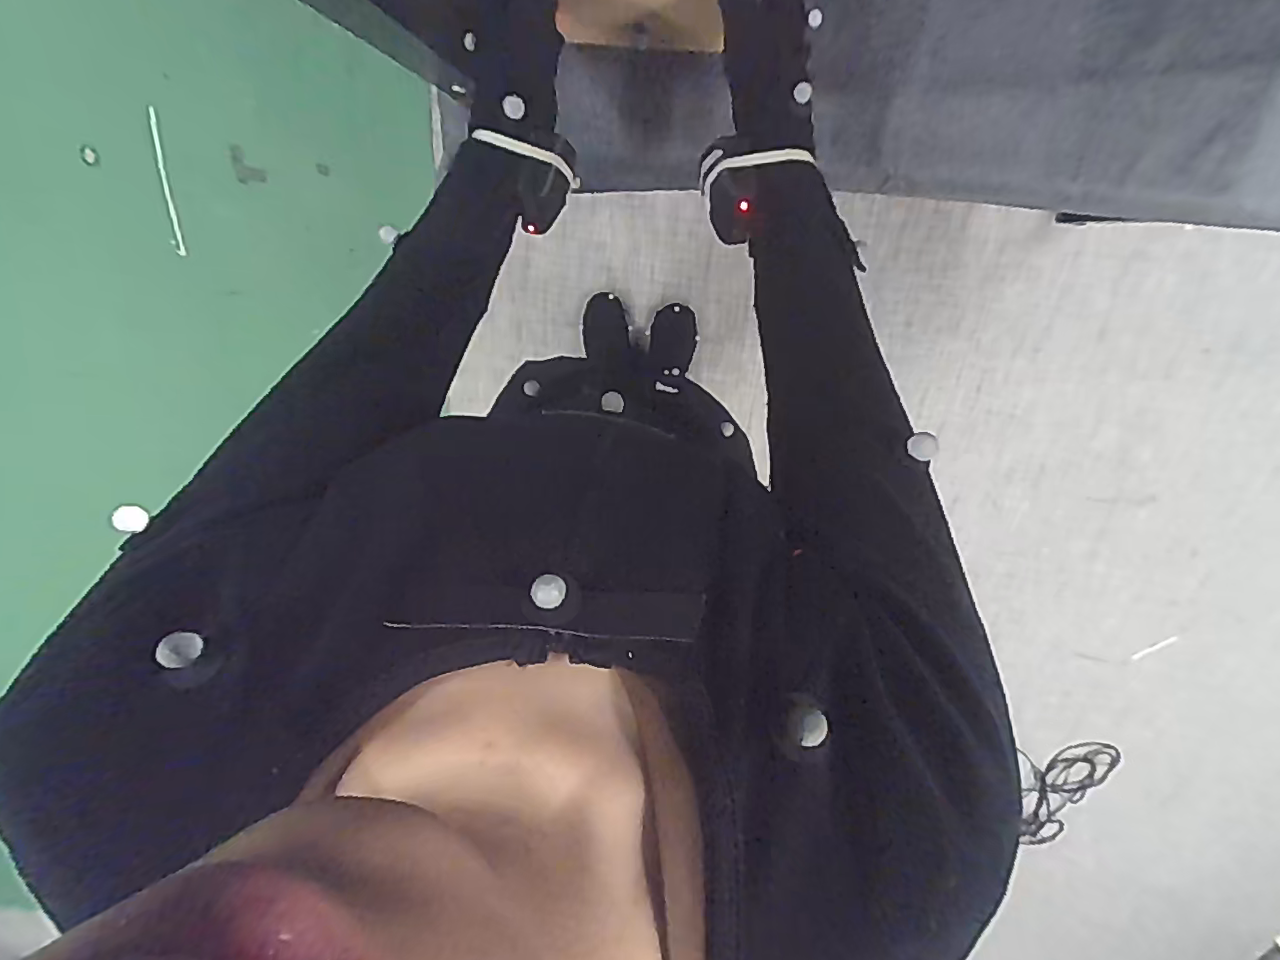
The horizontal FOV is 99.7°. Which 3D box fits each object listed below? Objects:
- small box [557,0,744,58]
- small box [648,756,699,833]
[{"bbox_3d":[0.009,-0.485,0.443,0.168,0.176,0.179,4,114,1],"label":"small box"},{"bbox_3d":[0.118,1.132,1.951,0.168,0.176,0.179,3,112,0],"label":"small box"}]
